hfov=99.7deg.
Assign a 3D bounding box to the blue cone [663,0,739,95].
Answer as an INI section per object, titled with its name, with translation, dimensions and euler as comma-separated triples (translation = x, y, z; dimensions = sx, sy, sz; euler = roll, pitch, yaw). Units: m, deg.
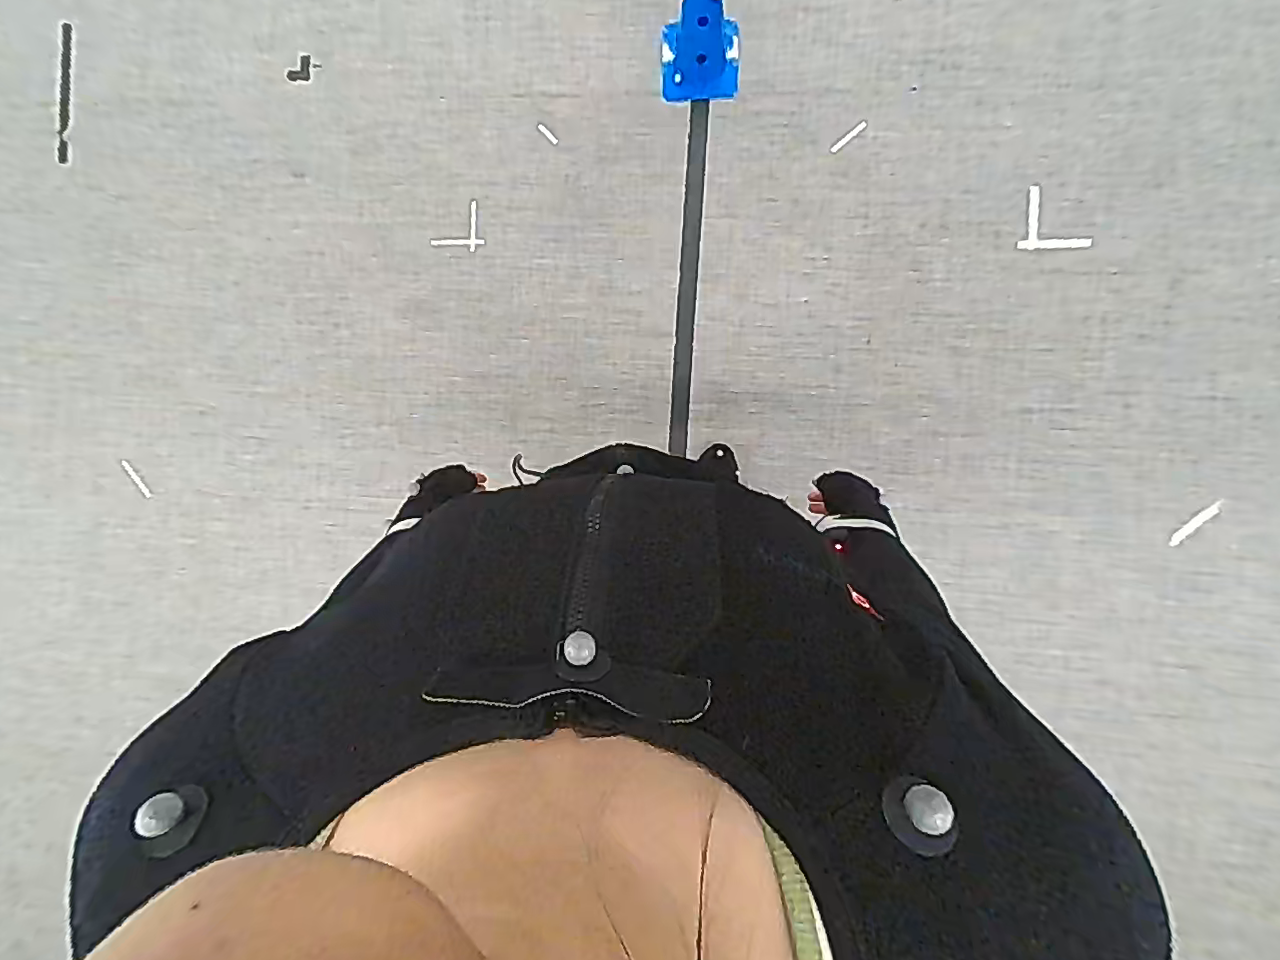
[blue cone]
translation = 0.146, -1.087, 1.230
dimensions = 0.192, 0.380, 0.193
euler = -2, 94, 5
